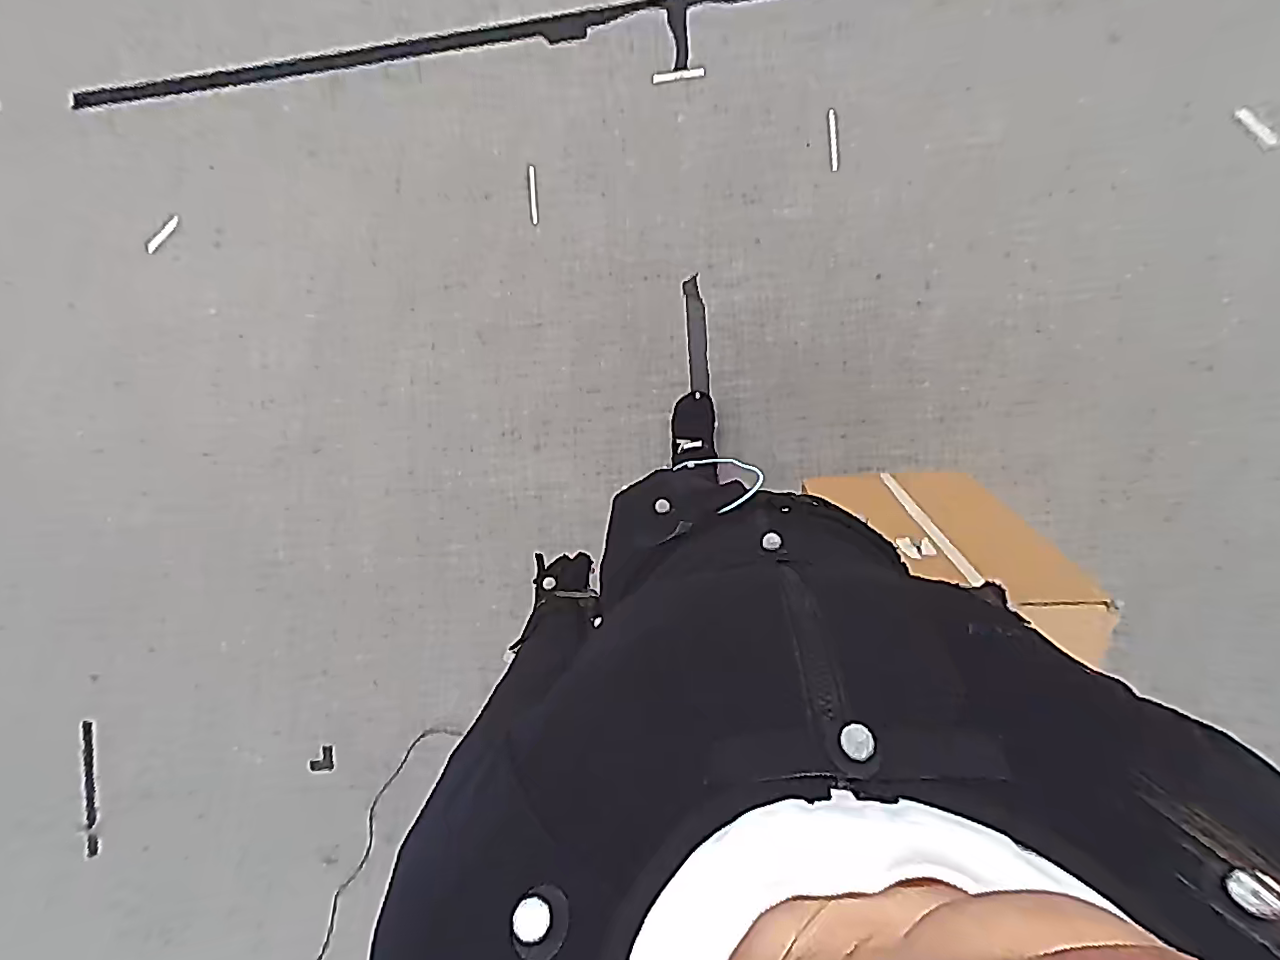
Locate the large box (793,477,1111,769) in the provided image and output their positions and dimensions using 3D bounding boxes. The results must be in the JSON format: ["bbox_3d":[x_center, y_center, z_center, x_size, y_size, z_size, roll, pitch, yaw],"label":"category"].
[{"bbox_3d":[0.466,0.219,0.937,0.320,0.408,0.320,-3,116,5],"label":"large box"}]
